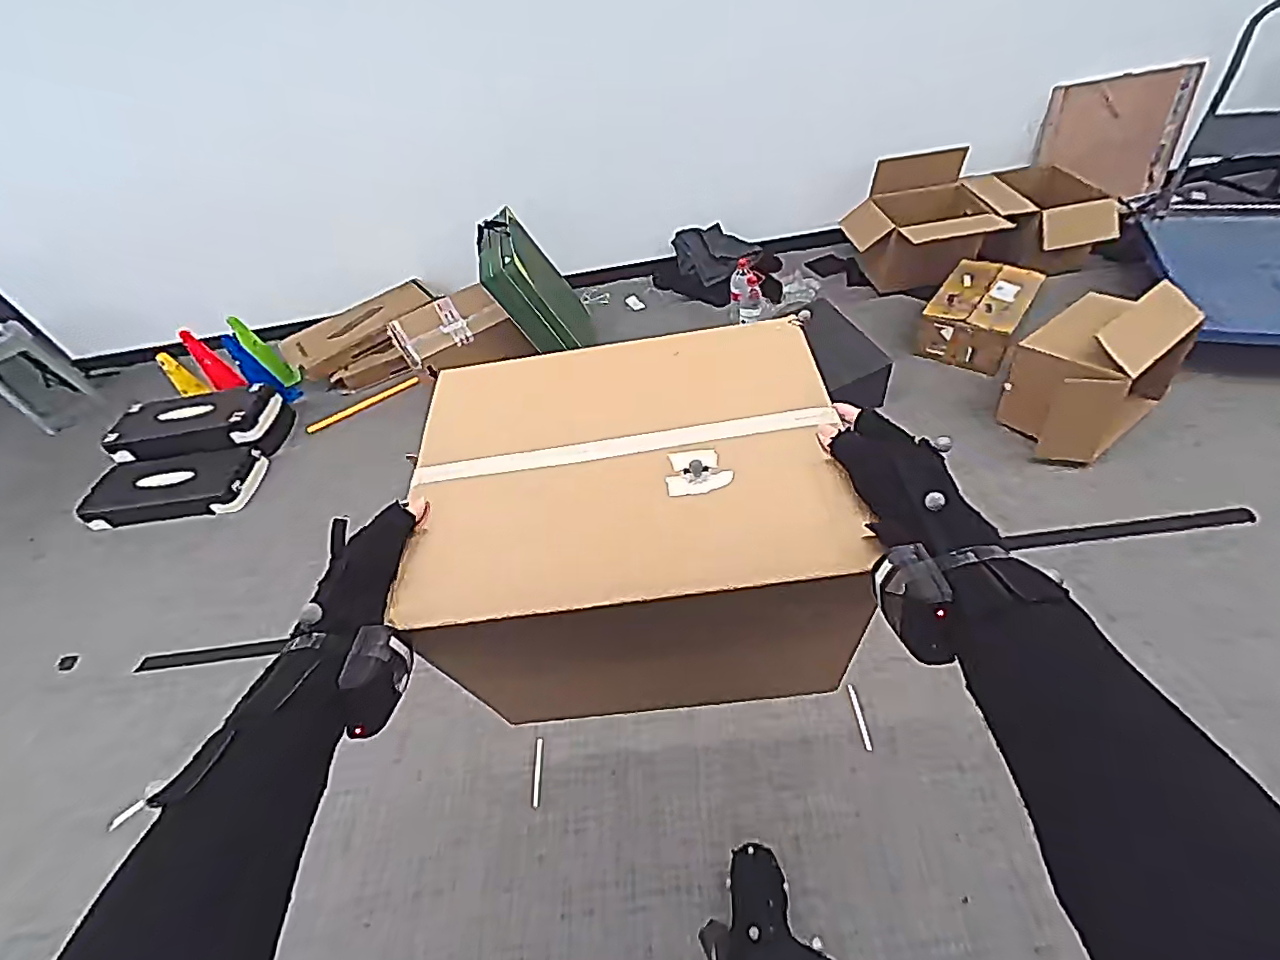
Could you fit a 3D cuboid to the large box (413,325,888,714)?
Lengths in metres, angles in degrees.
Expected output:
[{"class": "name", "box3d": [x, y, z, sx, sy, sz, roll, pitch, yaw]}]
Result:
[{"class": "large box", "box3d": [0.010, 0.061, 0.647, 0.408, 0.320, 0.320, -8, 53, 3]}]
